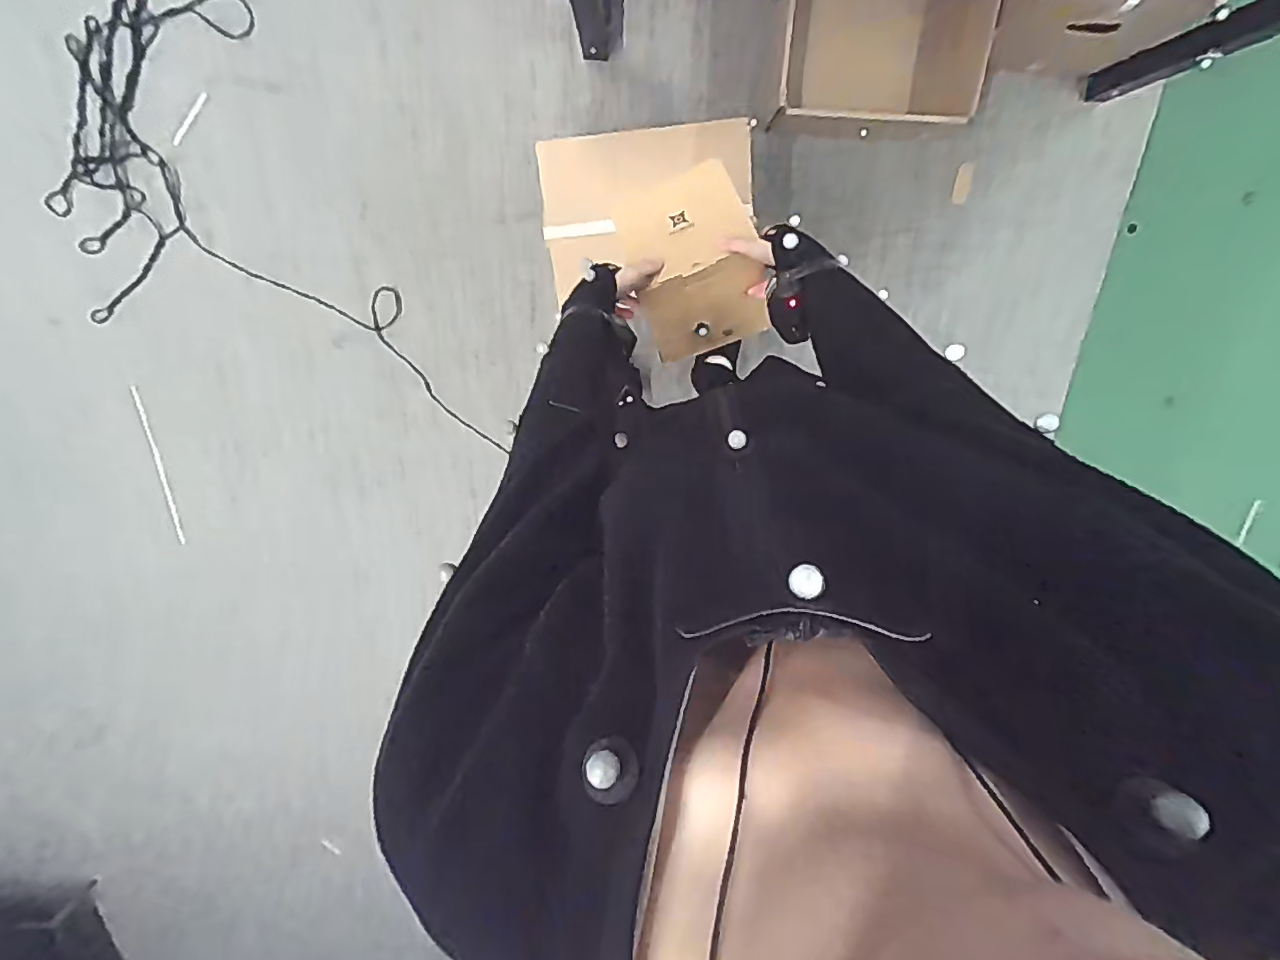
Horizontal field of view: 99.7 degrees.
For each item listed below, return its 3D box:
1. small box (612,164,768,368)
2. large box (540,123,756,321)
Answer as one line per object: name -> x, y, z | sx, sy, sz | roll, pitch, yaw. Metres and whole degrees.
small box -> 0.075, -0.293, 0.765 | 0.168, 0.176, 0.179 | -19, 64, 8
large box -> 0.024, -0.536, 1.185 | 0.408, 0.320, 0.320 | -6, 109, 2
